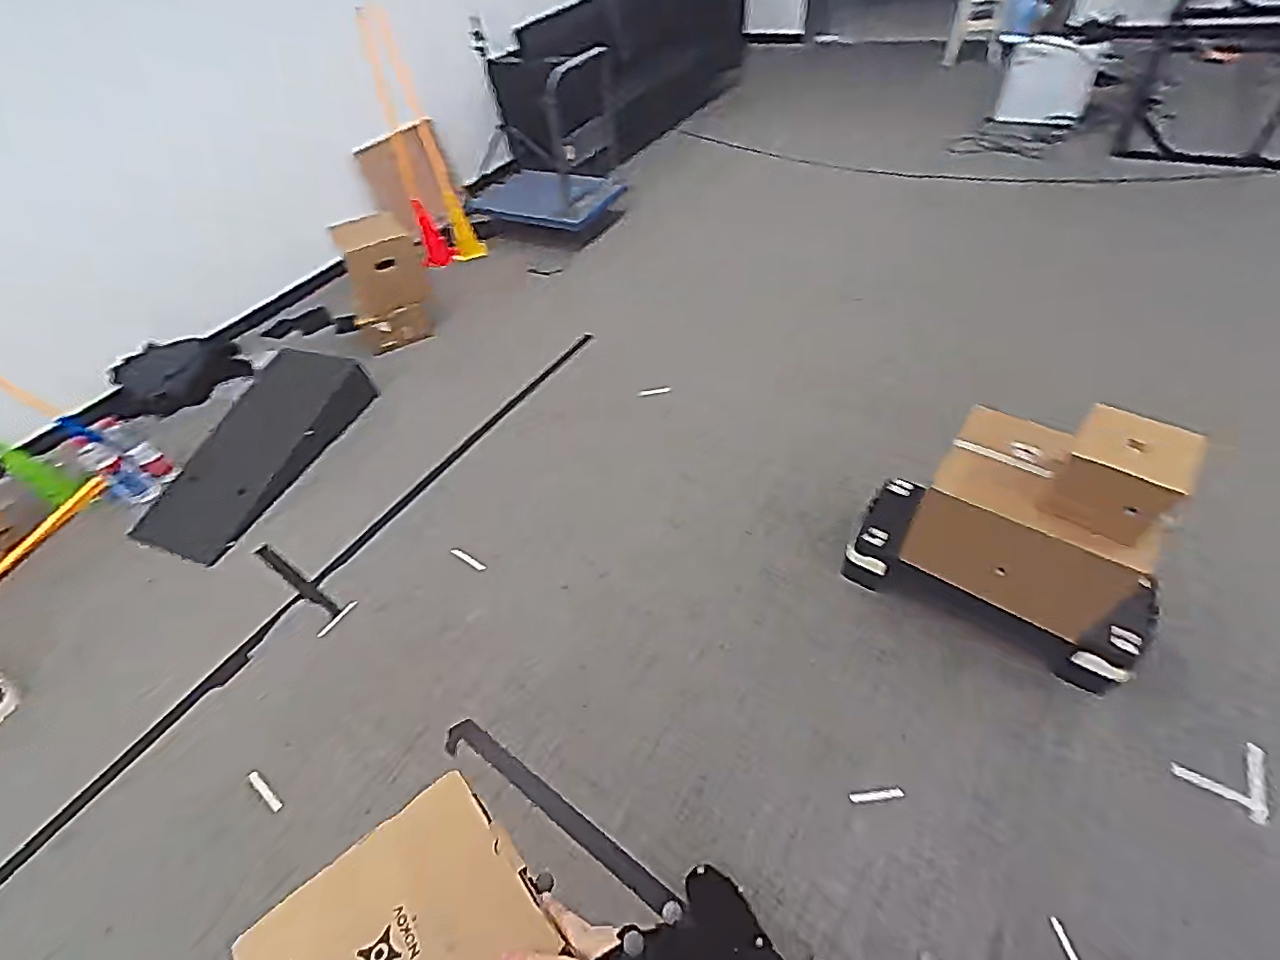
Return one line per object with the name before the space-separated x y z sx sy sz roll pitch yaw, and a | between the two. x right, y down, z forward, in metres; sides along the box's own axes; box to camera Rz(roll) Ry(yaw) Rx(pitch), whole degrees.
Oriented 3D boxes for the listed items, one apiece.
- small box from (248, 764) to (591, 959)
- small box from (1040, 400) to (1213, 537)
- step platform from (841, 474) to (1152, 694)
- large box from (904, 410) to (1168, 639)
small box | -0.143 0.367 0.398 0.179 0.176 0.168 -29 37 -29
small box | 0.921 -0.017 1.038 0.179 0.176 0.168 30 61 32
step platform | 0.918 0.244 1.459 0.684 0.204 0.286 29 60 31
large box | 0.907 0.097 1.270 0.408 0.320 0.320 27 58 30
